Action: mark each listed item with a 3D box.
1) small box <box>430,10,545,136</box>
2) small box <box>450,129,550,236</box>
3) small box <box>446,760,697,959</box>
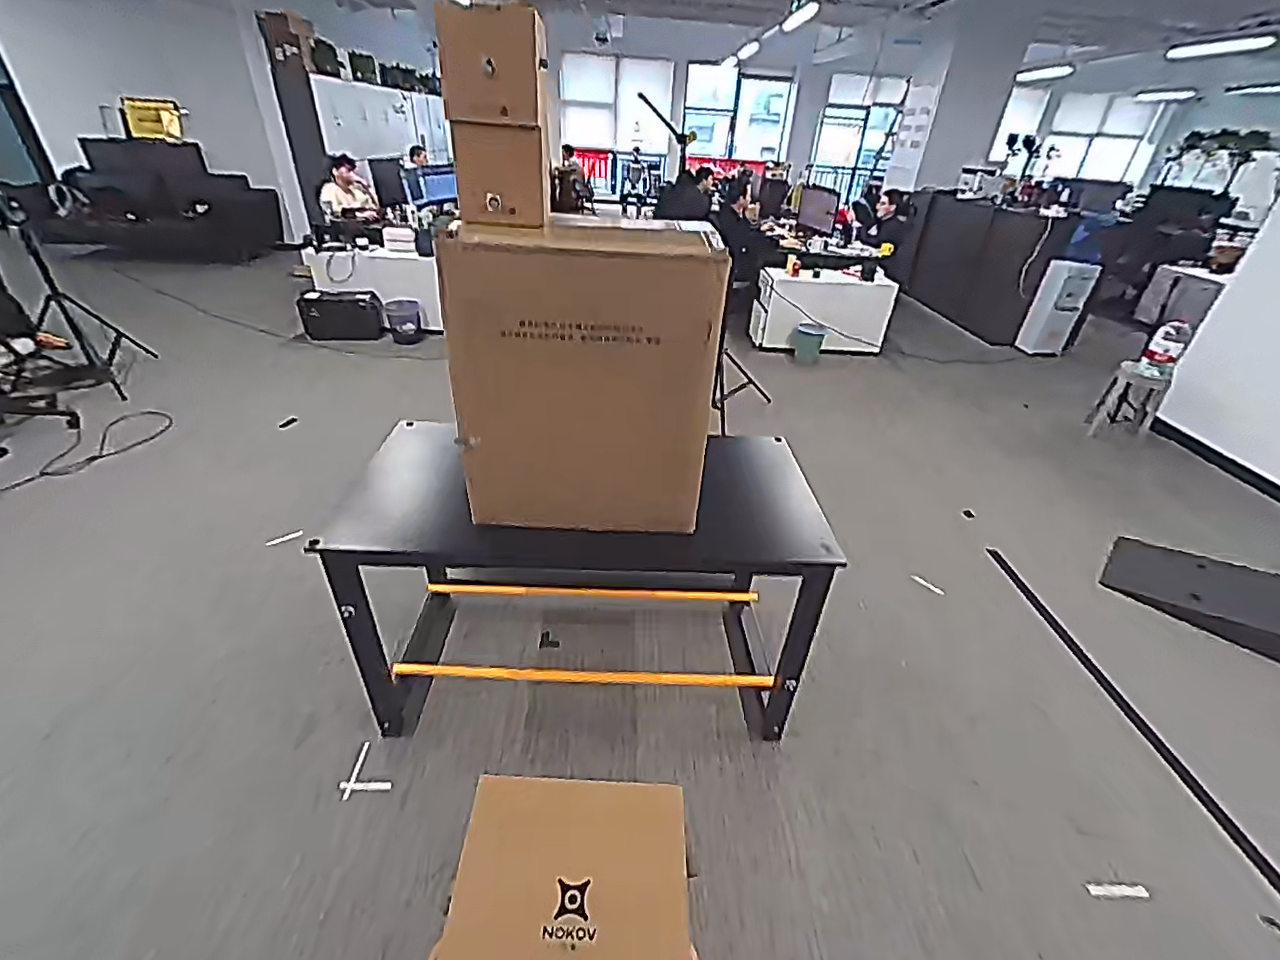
[{"bbox_3d":[-0.265,-0.729,0.986,0.168,0.176,0.179,1,32,-4],"label":"small box"},{"bbox_3d":[-0.271,-0.598,1.086,0.168,0.176,0.179,-1,33,-5],"label":"small box"},{"bbox_3d":[-0.049,0.351,0.428,0.168,0.176,0.179,3,40,-2],"label":"small box"}]
